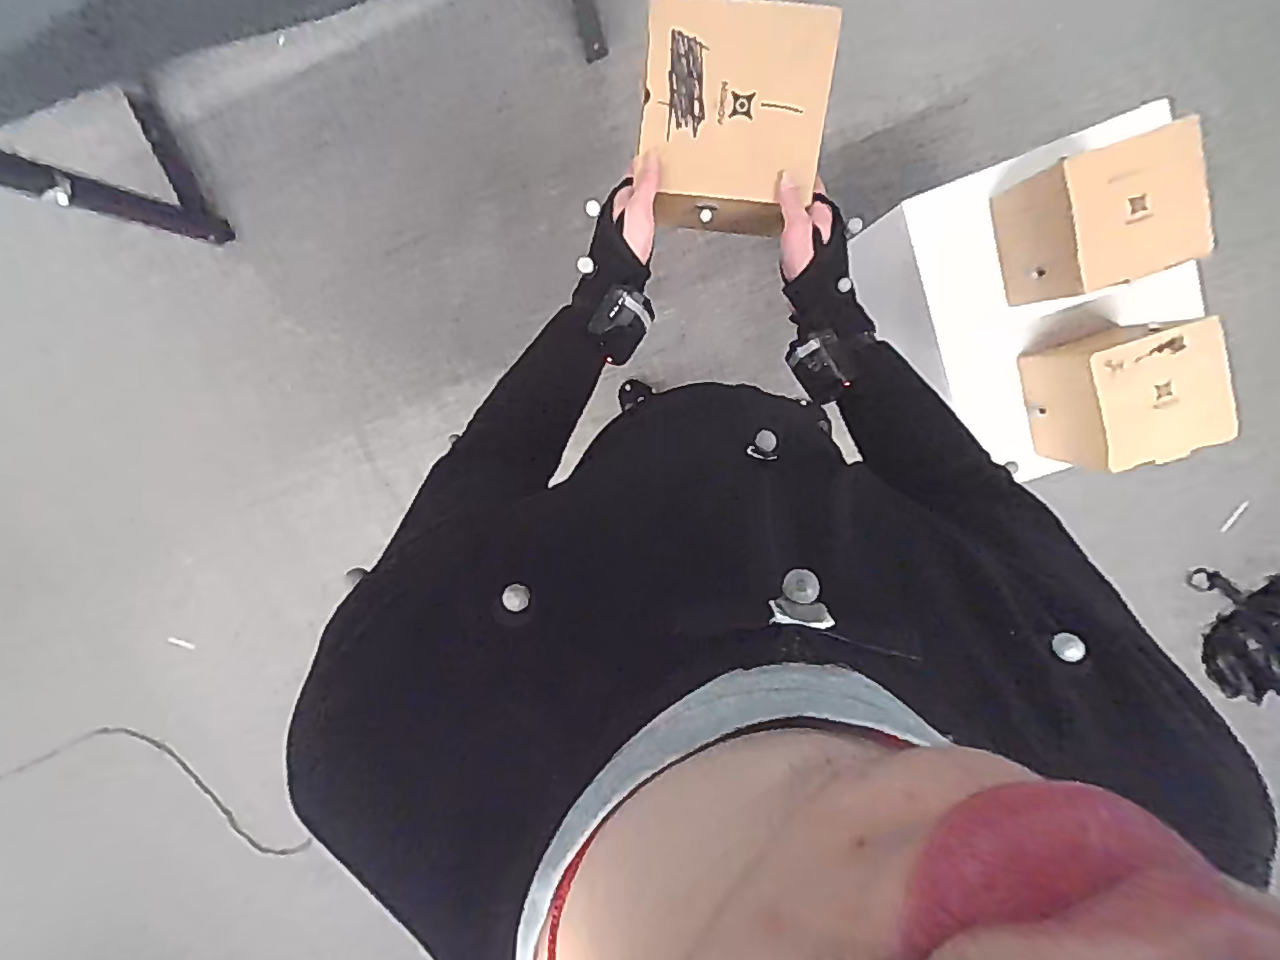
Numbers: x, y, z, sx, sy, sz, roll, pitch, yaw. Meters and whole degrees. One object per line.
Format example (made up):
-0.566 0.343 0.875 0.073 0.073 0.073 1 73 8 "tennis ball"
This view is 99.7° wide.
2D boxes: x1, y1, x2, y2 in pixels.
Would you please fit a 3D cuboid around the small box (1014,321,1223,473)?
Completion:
0.713 -0.130 0.823 0.168 0.176 0.179 -18 101 6 "small box"

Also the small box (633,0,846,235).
0.092 -0.368 0.575 0.179 0.176 0.168 6 105 1 "small box"
